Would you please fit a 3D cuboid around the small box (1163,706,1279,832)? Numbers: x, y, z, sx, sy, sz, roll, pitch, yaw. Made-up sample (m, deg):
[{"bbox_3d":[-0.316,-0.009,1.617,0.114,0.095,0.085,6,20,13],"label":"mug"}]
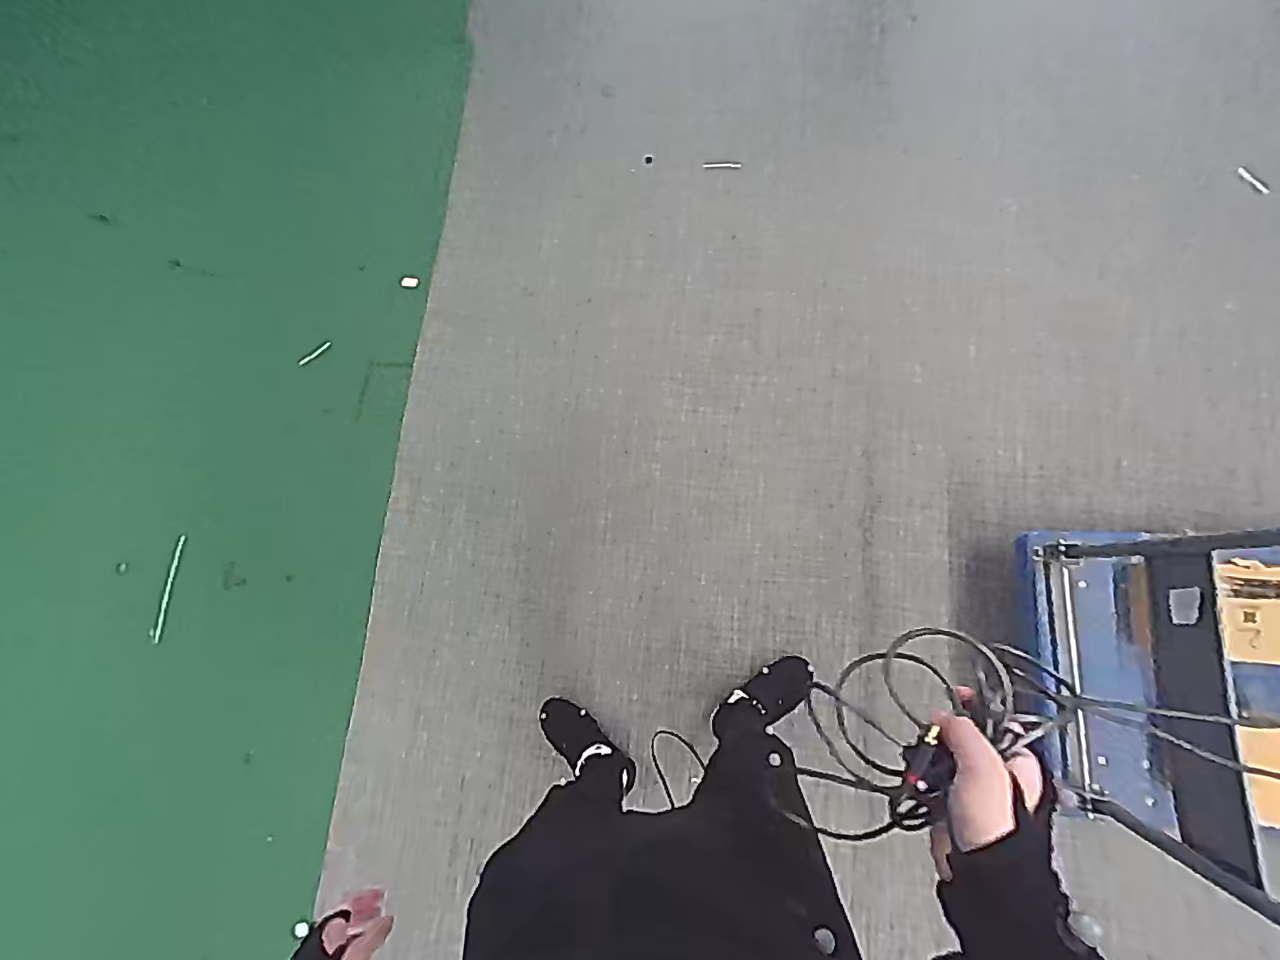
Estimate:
[{"bbox_3d":[1.118,0.521,0.982,0.179,0.176,0.168,3,79,9],"label":"small box"}]
